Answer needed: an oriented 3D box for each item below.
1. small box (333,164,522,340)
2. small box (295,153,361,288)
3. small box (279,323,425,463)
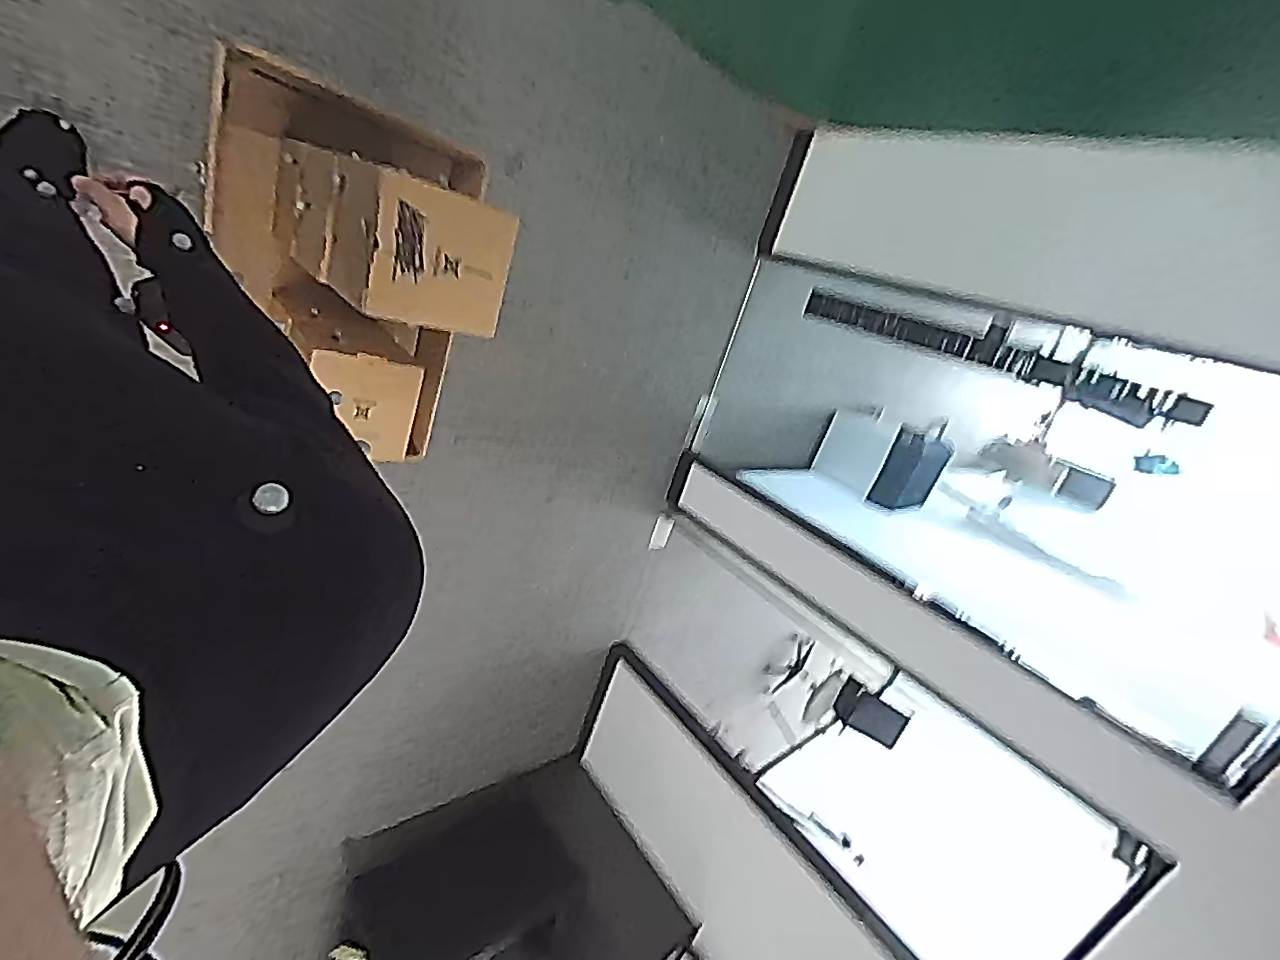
[{"bbox_3d":[-0.292,-0.306,0.729,0.179,0.176,0.168,-2,119,-45],"label":"small box"},{"bbox_3d":[-0.402,-0.379,0.829,0.179,0.176,0.168,1,117,-45],"label":"small box"},{"bbox_3d":[-0.491,-0.147,0.913,0.168,0.176,0.179,4,116,-45],"label":"small box"}]
